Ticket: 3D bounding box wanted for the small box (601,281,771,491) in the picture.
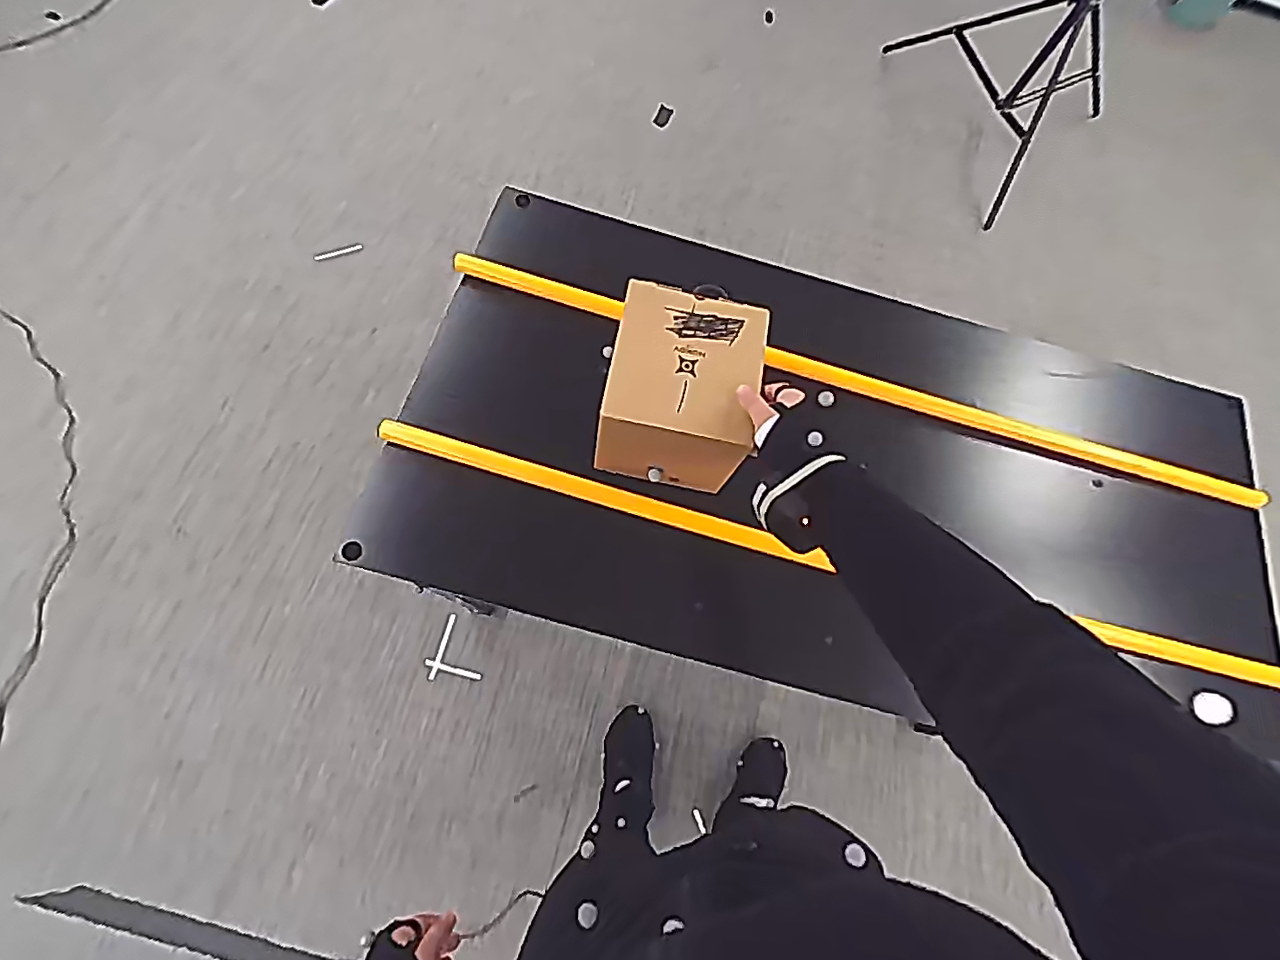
[{"bbox_3d":[0.047,-0.105,0.664,0.168,0.176,0.179,12,71,-2],"label":"small box"}]
